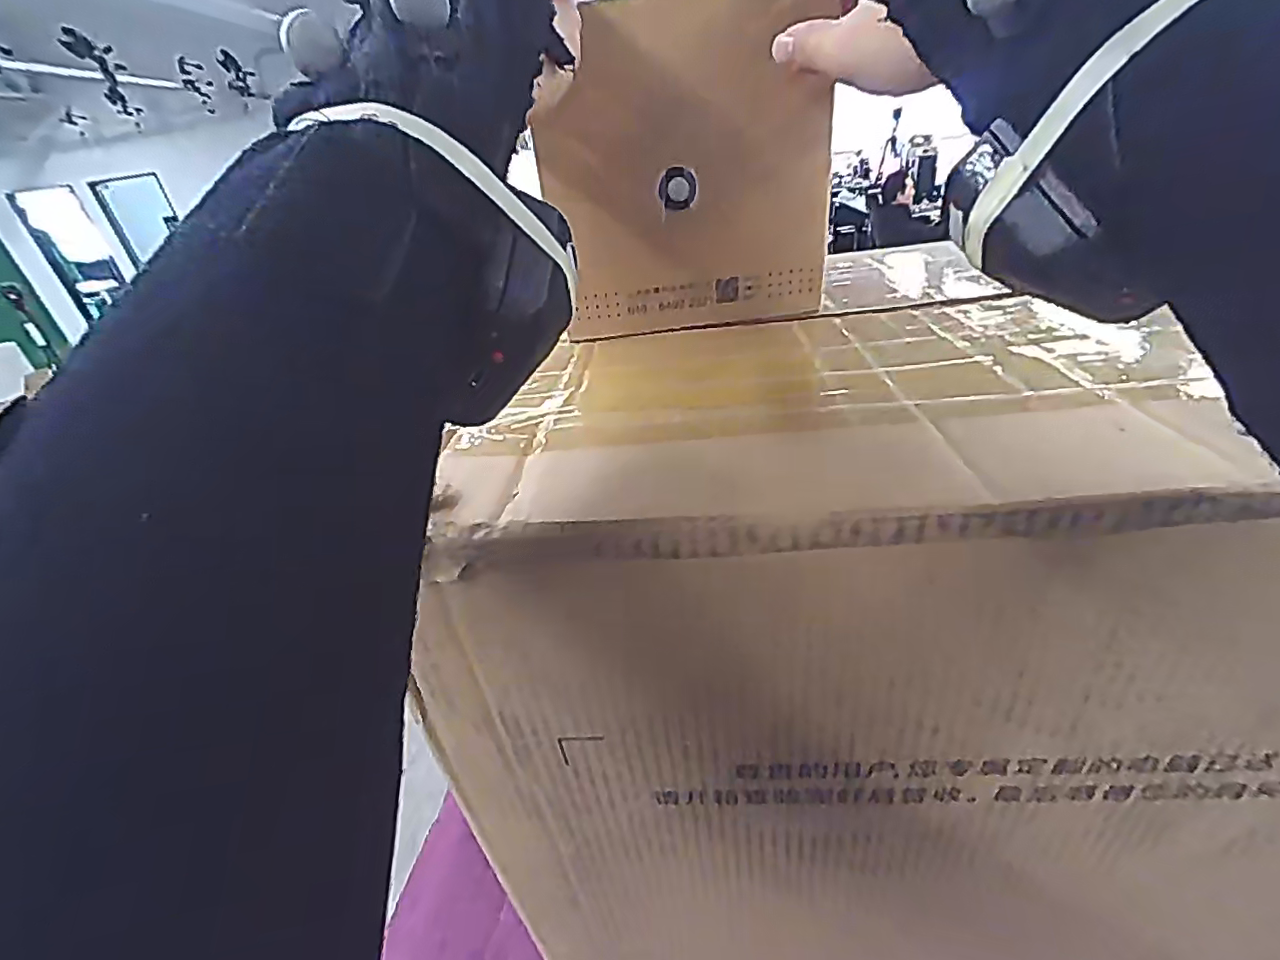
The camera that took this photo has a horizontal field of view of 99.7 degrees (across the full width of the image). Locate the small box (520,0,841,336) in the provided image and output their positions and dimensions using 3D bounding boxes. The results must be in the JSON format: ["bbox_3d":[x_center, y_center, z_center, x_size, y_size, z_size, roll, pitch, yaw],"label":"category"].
[{"bbox_3d":[0.026,-0.205,0.378,0.168,0.176,0.179,-6,31,1],"label":"small box"}]
